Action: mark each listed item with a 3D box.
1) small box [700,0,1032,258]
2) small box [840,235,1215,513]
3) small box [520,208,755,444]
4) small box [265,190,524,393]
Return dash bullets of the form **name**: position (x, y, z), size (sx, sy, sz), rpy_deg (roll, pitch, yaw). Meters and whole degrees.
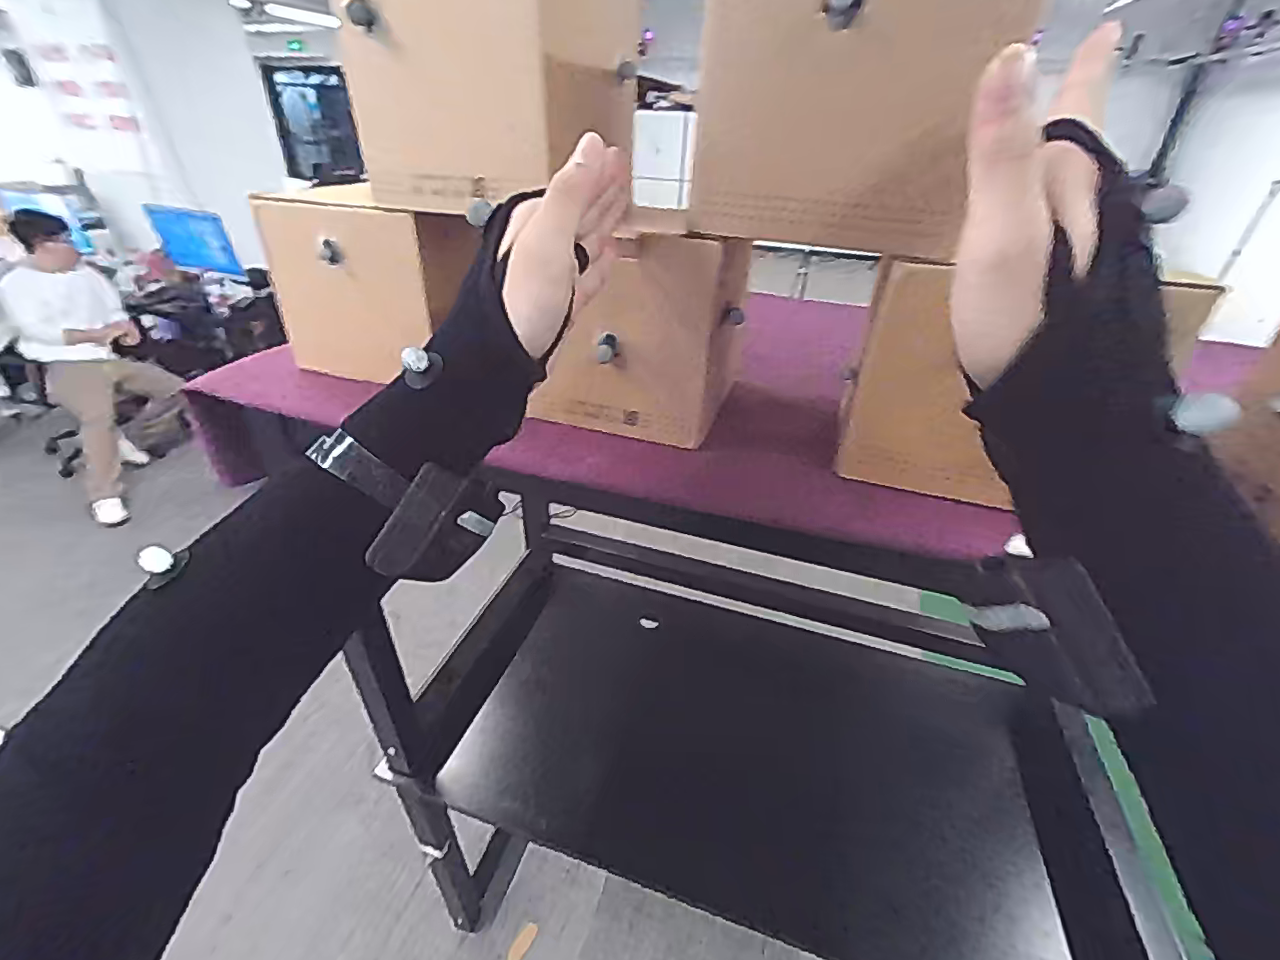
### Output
- **small box**: position (0.148, -0.264, 0.390), size (0.179, 0.176, 0.168), rpy_deg (12, 33, 12)
- **small box**: position (0.274, -0.093, 0.437), size (0.179, 0.176, 0.168), rpy_deg (11, 32, 16)
- **small box**: position (0.008, -0.151, 0.509), size (0.168, 0.176, 0.179), rpy_deg (12, 33, 14)
- **small box**: position (-0.240, -0.204, 0.575), size (0.179, 0.176, 0.168), rpy_deg (13, 33, 14)
